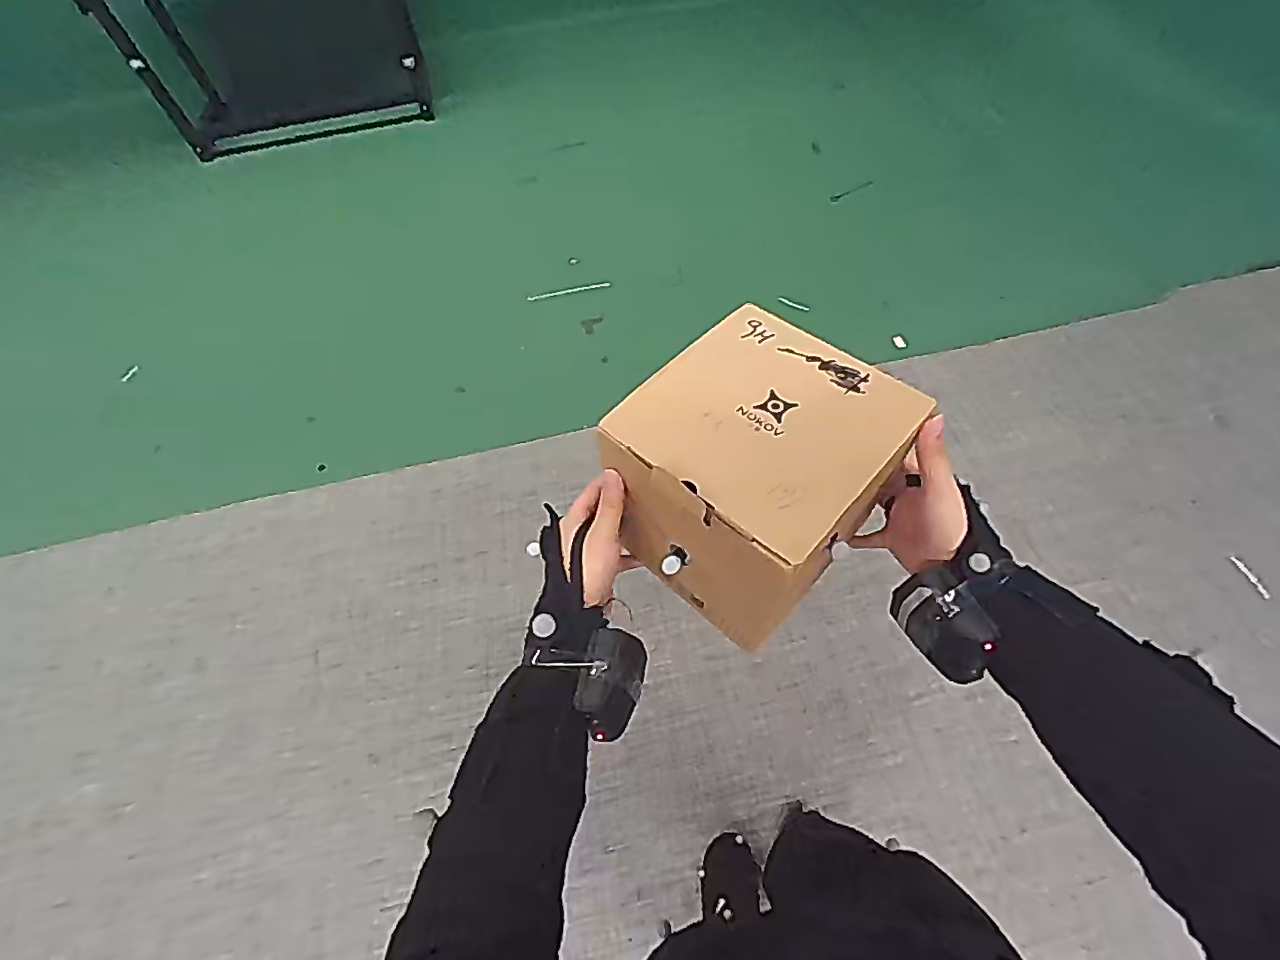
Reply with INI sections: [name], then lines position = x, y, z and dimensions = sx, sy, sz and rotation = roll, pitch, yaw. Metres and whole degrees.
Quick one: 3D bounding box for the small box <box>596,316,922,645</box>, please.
[small box]
position = 0.089, 0.006, 0.449
dimensions = 0.168, 0.176, 0.179
rotation = 38, 65, 24
